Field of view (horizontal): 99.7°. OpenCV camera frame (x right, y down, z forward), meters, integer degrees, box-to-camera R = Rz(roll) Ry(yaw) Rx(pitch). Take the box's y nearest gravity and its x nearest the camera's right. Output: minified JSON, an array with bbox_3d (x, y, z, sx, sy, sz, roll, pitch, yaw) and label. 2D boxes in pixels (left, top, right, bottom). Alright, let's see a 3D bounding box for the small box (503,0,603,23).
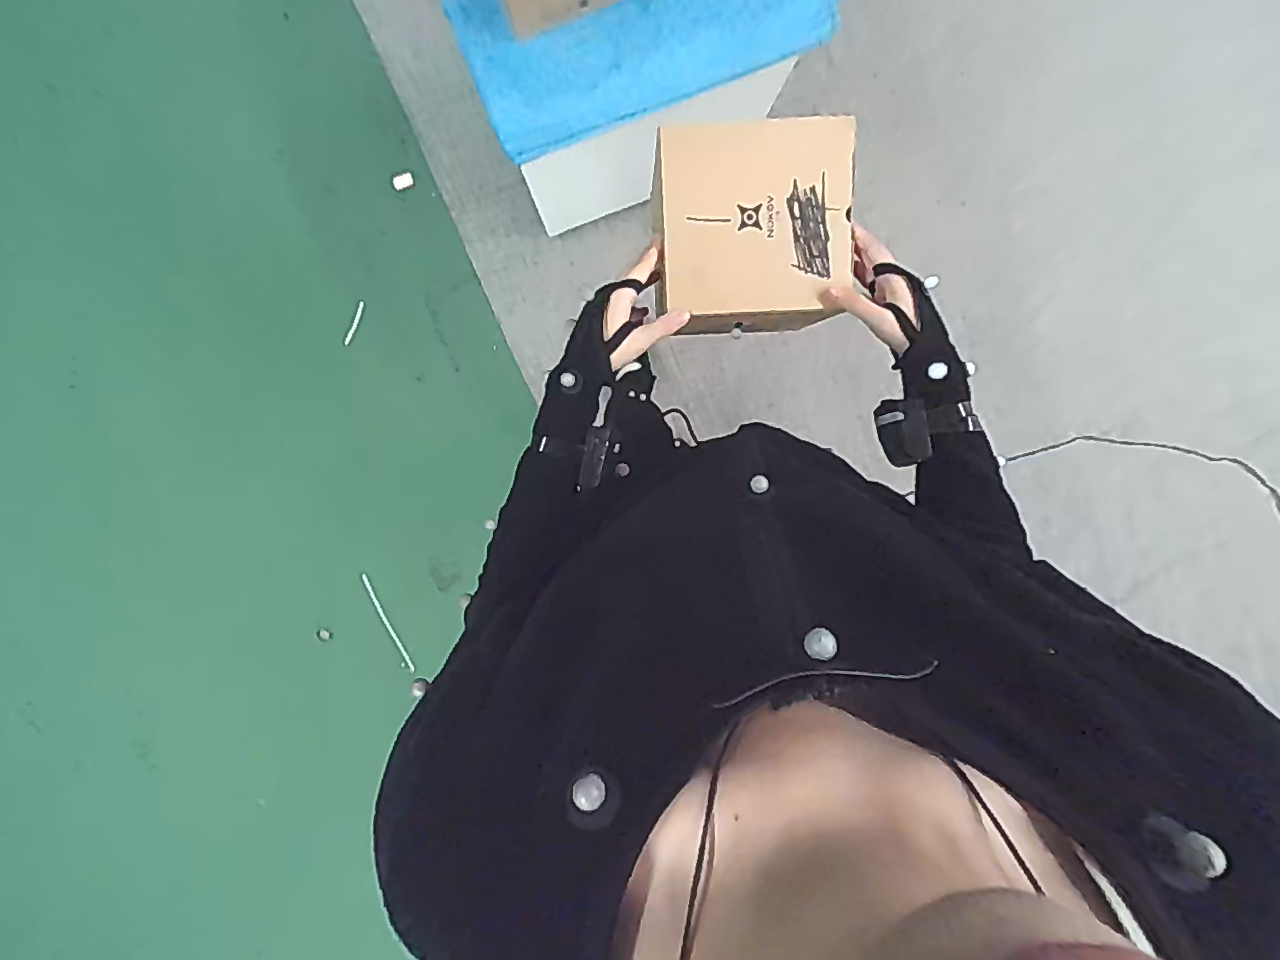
[{"bbox_3d":[-0.124,-0.723,0.671,0.168,0.176,0.179,-21,99,-1],"label":"small box"}]
